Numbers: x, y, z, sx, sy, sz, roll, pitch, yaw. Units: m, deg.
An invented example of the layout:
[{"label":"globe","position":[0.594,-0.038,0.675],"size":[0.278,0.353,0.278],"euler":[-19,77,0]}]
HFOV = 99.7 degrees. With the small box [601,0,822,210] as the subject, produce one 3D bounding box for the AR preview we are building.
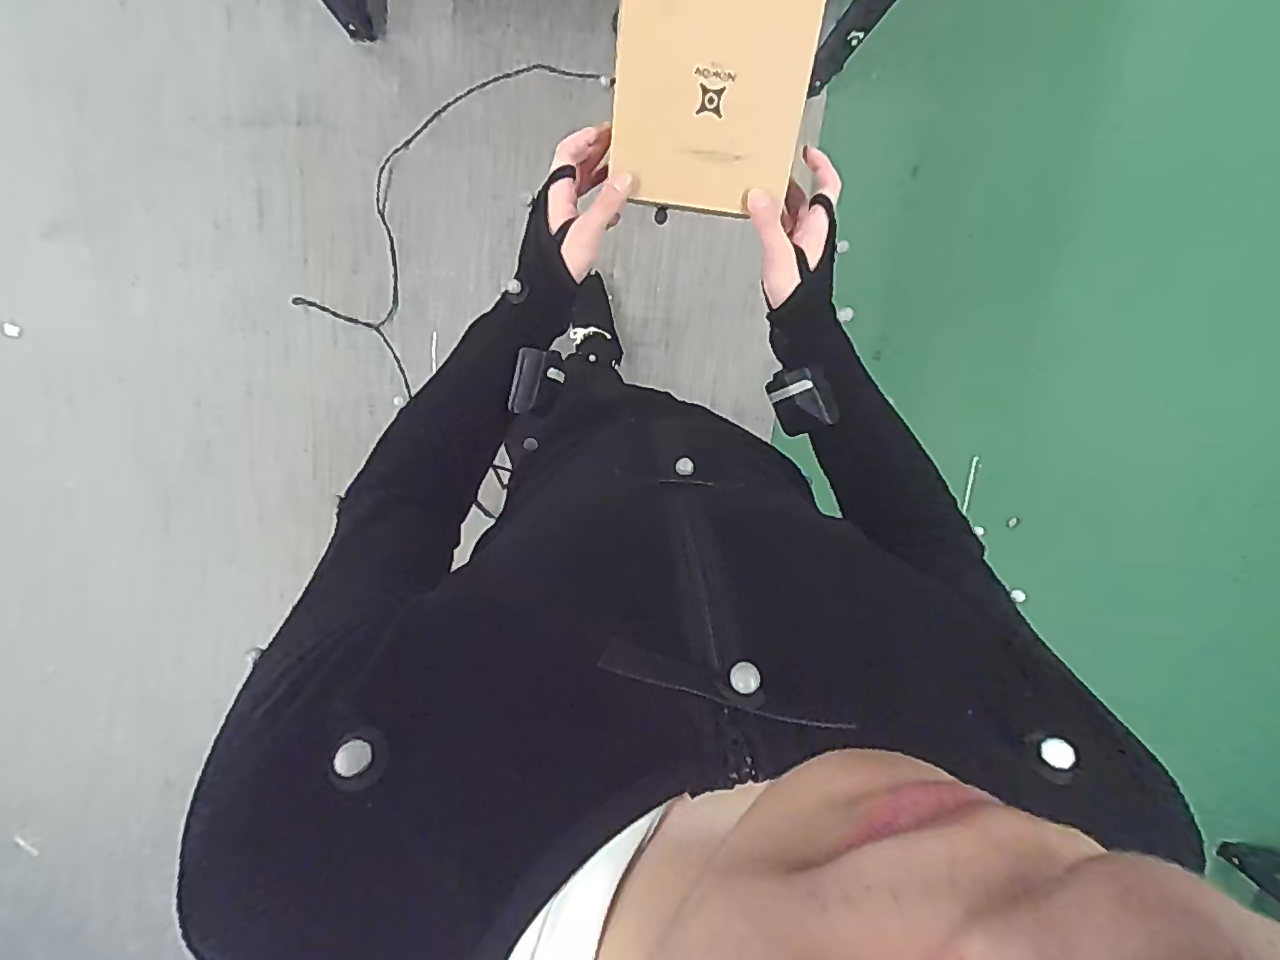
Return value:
[{"label":"small box","position":[0.052,-0.369,0.523],"size":[0.168,0.176,0.179],"euler":[5,116,-6]}]
